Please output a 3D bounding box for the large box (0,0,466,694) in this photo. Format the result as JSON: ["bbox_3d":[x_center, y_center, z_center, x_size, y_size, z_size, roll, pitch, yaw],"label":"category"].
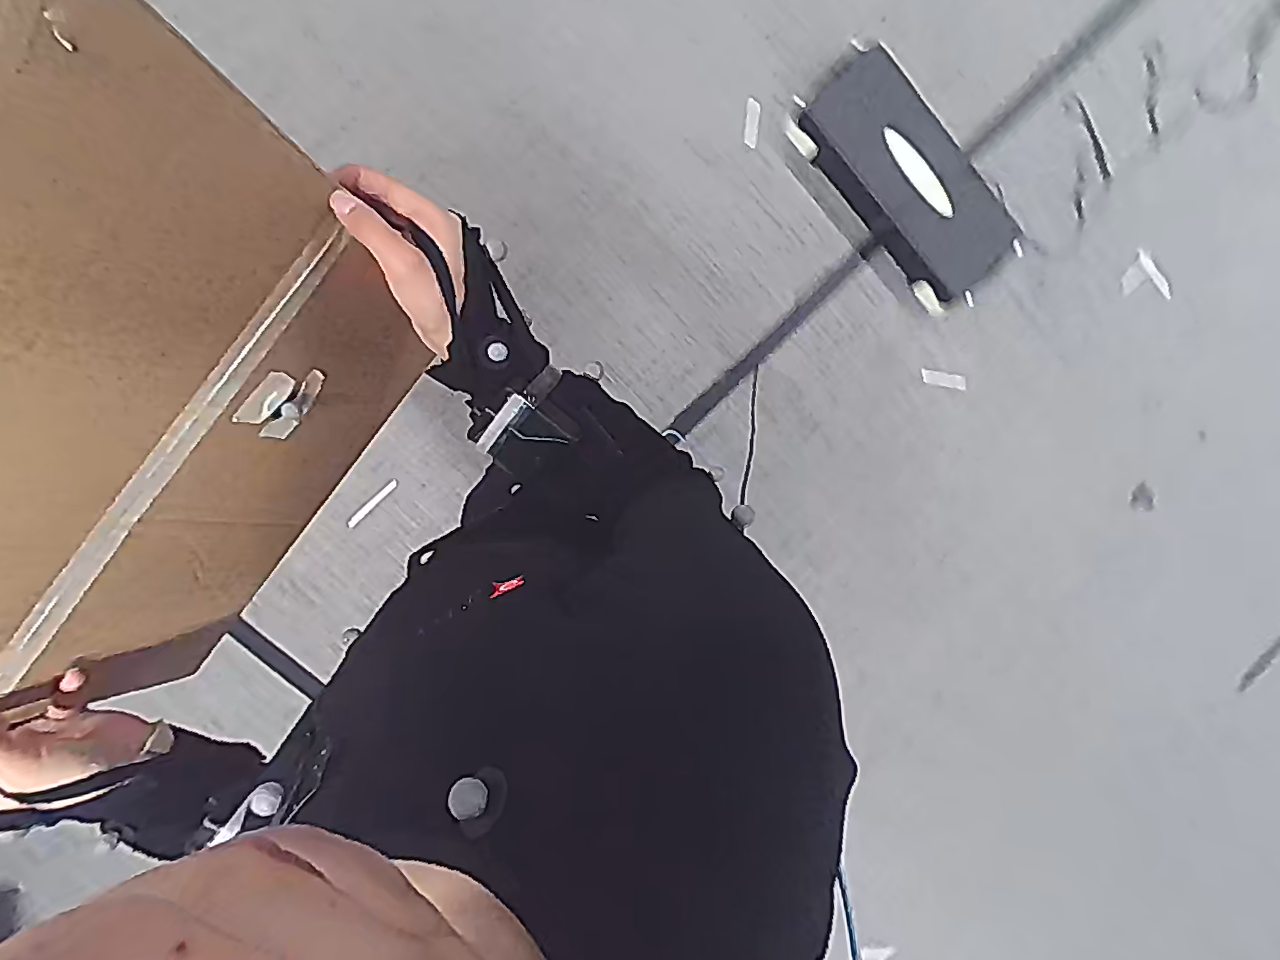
[{"bbox_3d":[-0.410,-0.112,0.357,0.320,0.320,0.408,38,90,10],"label":"large box"}]
